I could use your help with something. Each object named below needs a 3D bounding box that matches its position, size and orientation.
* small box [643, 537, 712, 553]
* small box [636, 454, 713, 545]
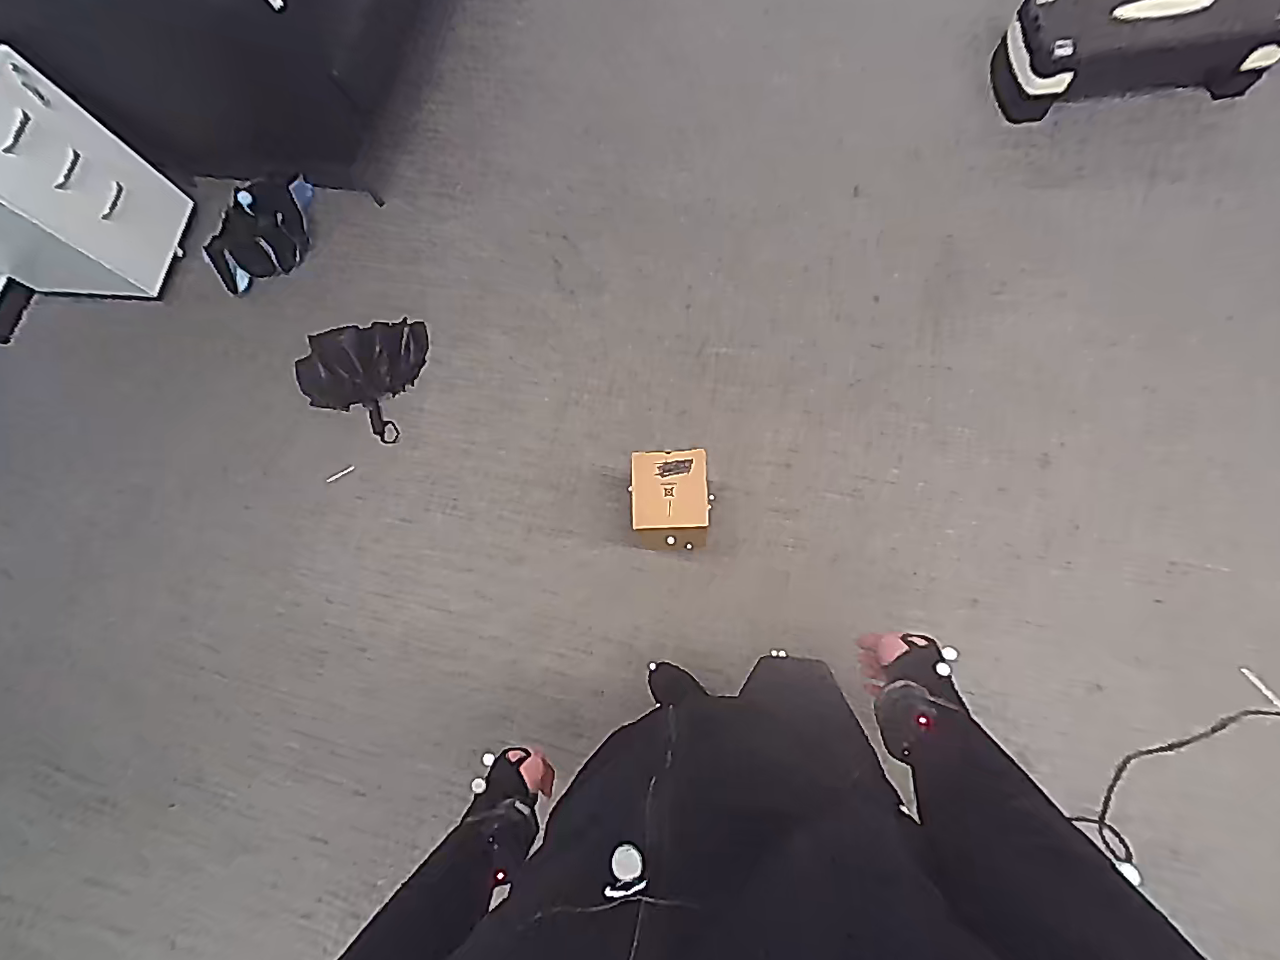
[{"bbox_3d":[0.099,0.092,1.403,0.168,0.176,0.179,-4,72,7],"label":"small box"},{"bbox_3d":[0.082,0.050,1.245,0.168,0.176,0.179,-3,75,8],"label":"small box"}]
